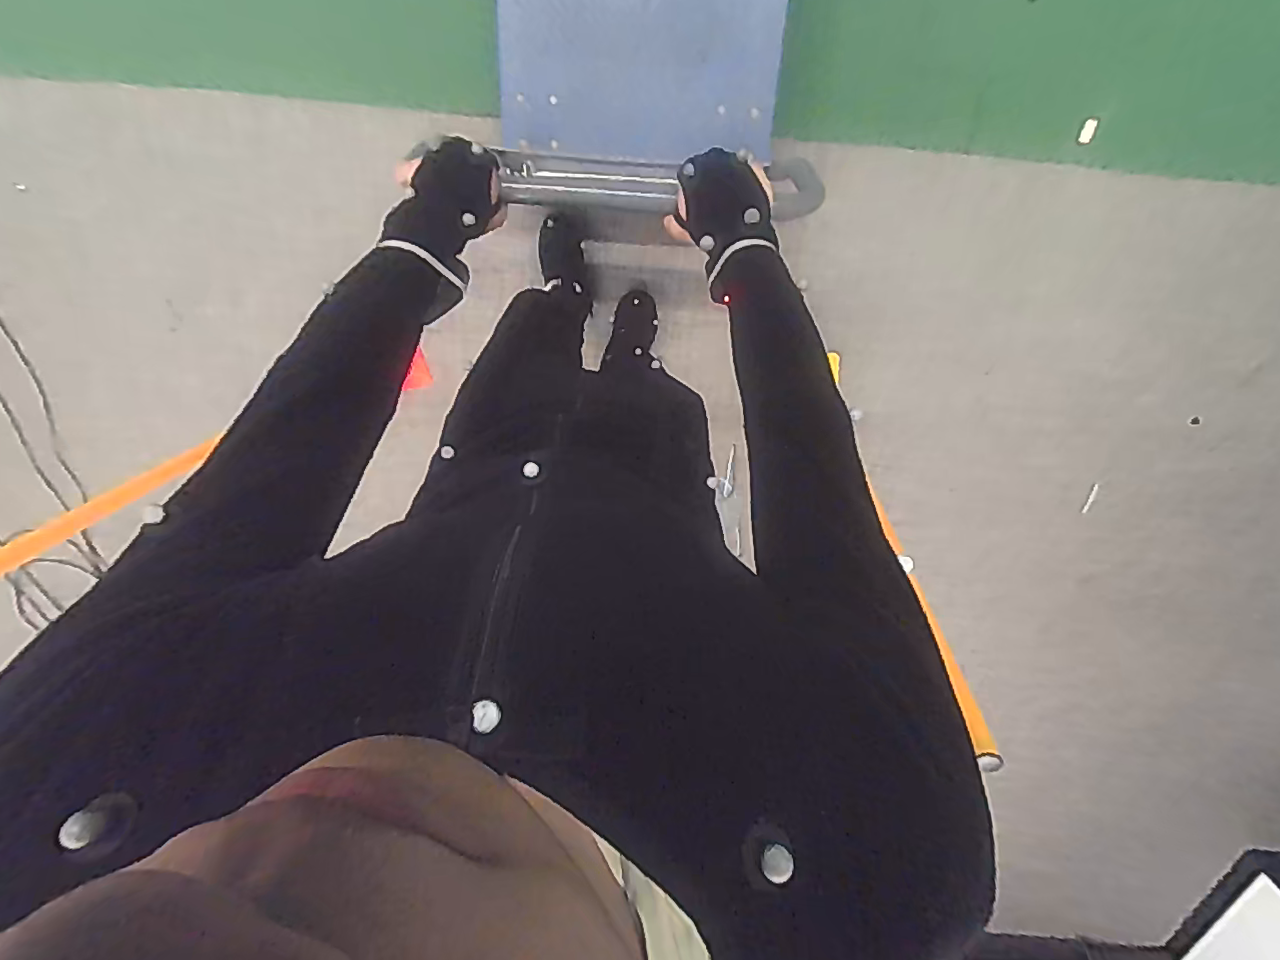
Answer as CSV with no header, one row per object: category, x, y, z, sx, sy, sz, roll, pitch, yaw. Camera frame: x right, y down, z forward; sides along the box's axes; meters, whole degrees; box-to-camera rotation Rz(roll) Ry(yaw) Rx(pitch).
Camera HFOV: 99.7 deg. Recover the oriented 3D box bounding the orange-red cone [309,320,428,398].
orange-red cone,-0.723,-0.273,1.378,0.199,0.360,0.198,-8,114,7
